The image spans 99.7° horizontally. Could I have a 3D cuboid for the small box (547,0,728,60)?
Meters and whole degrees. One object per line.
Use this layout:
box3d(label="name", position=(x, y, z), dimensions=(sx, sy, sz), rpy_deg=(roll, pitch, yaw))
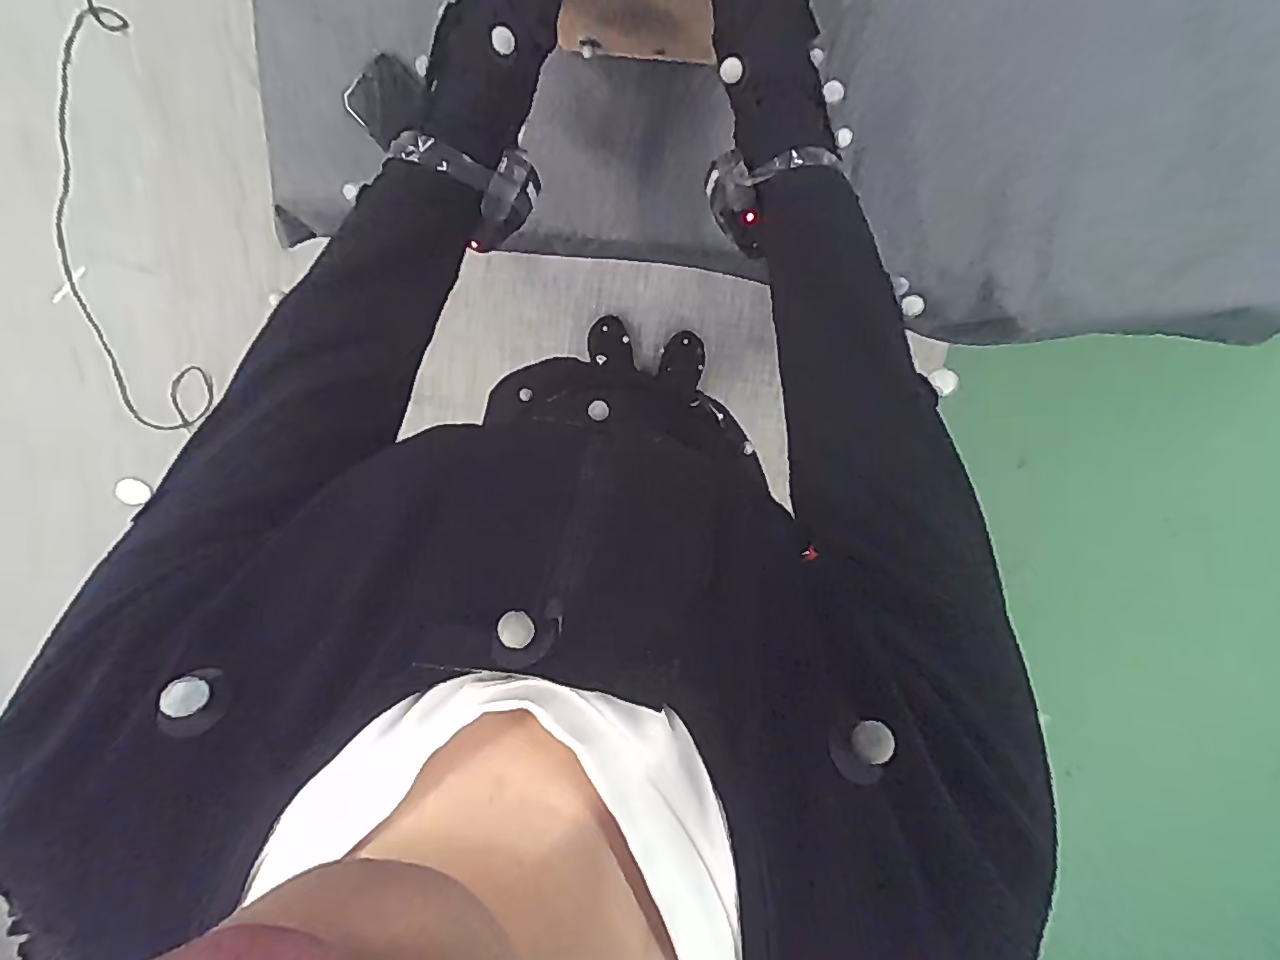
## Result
box3d(label="small box", position=(0.004, -0.503, 0.471), dimensions=(0.168, 0.176, 0.179), rpy_deg=(5, 108, 0))
